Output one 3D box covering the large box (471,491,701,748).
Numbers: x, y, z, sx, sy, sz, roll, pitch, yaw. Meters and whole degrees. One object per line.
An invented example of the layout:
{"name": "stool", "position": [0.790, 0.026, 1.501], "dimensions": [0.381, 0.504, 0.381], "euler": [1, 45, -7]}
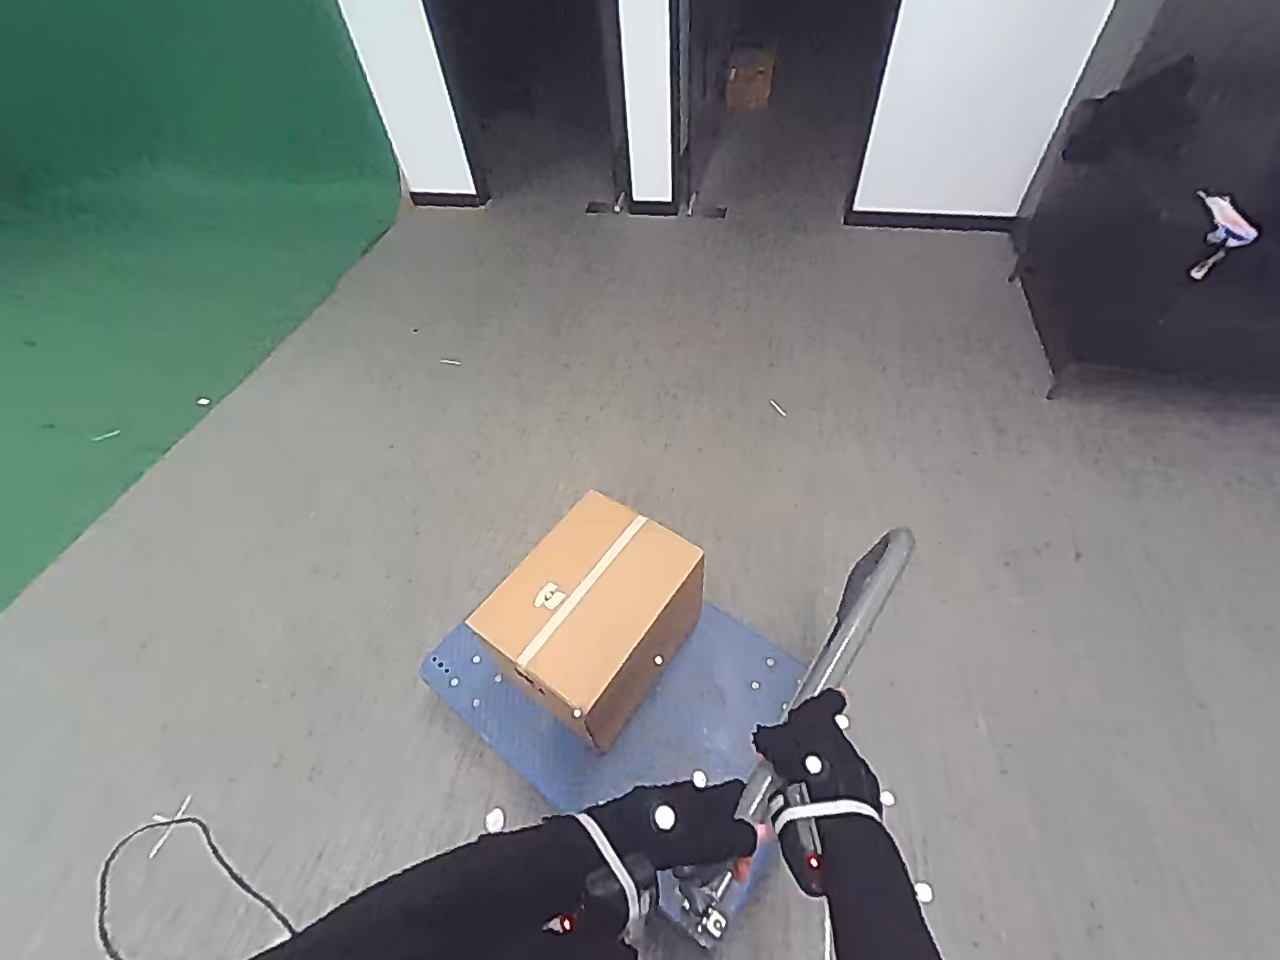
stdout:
{"name": "large box", "position": [-0.095, 0.309, 1.224], "dimensions": [0.320, 0.320, 0.408], "euler": [28, 59, 25]}
